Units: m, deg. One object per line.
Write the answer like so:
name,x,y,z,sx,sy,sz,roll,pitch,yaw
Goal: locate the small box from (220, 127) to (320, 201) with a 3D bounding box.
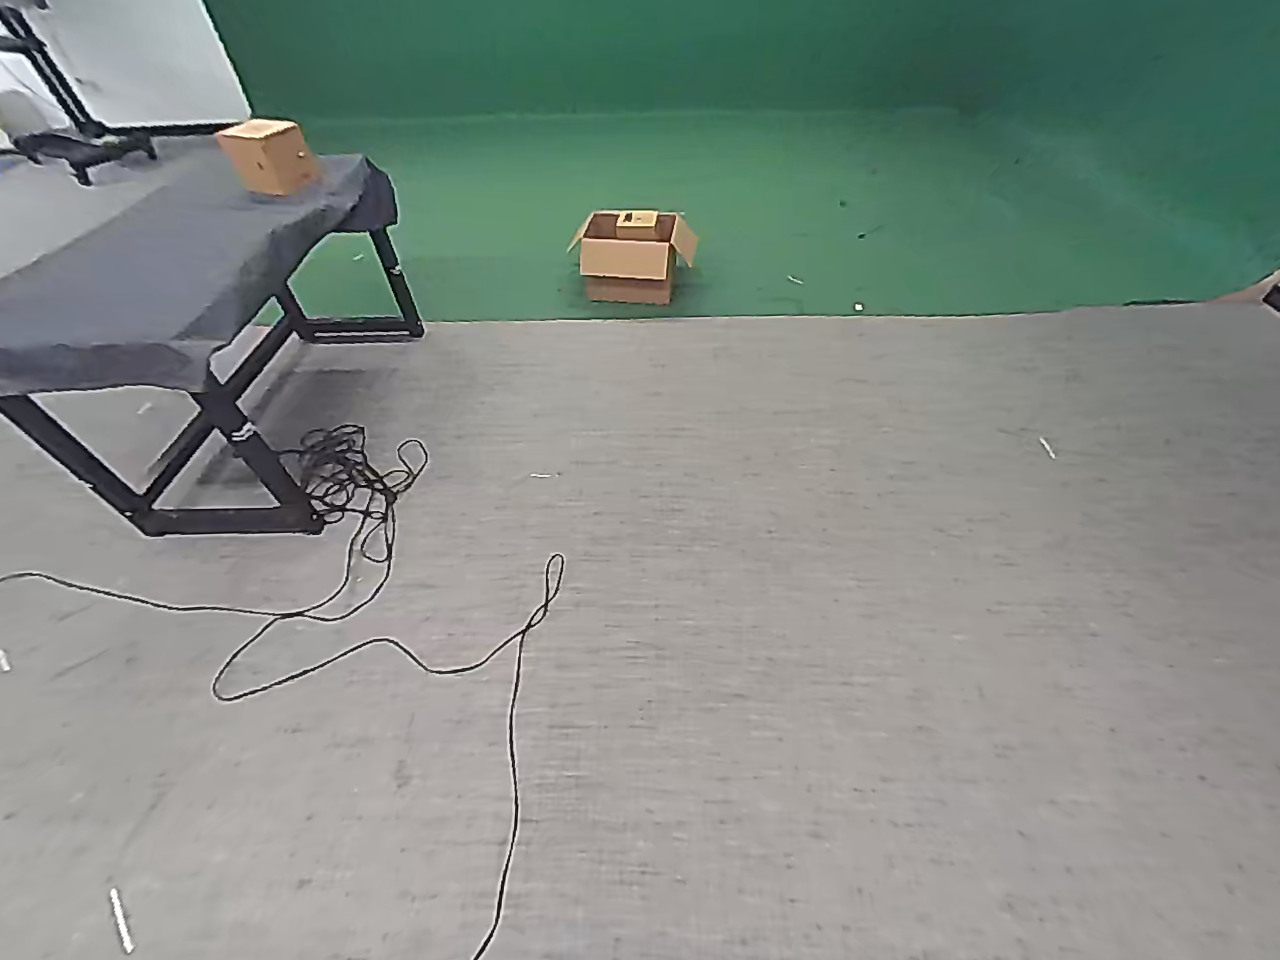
small box,-1.191,-1.025,1.757,0.179,0.176,0.168,12,48,15
